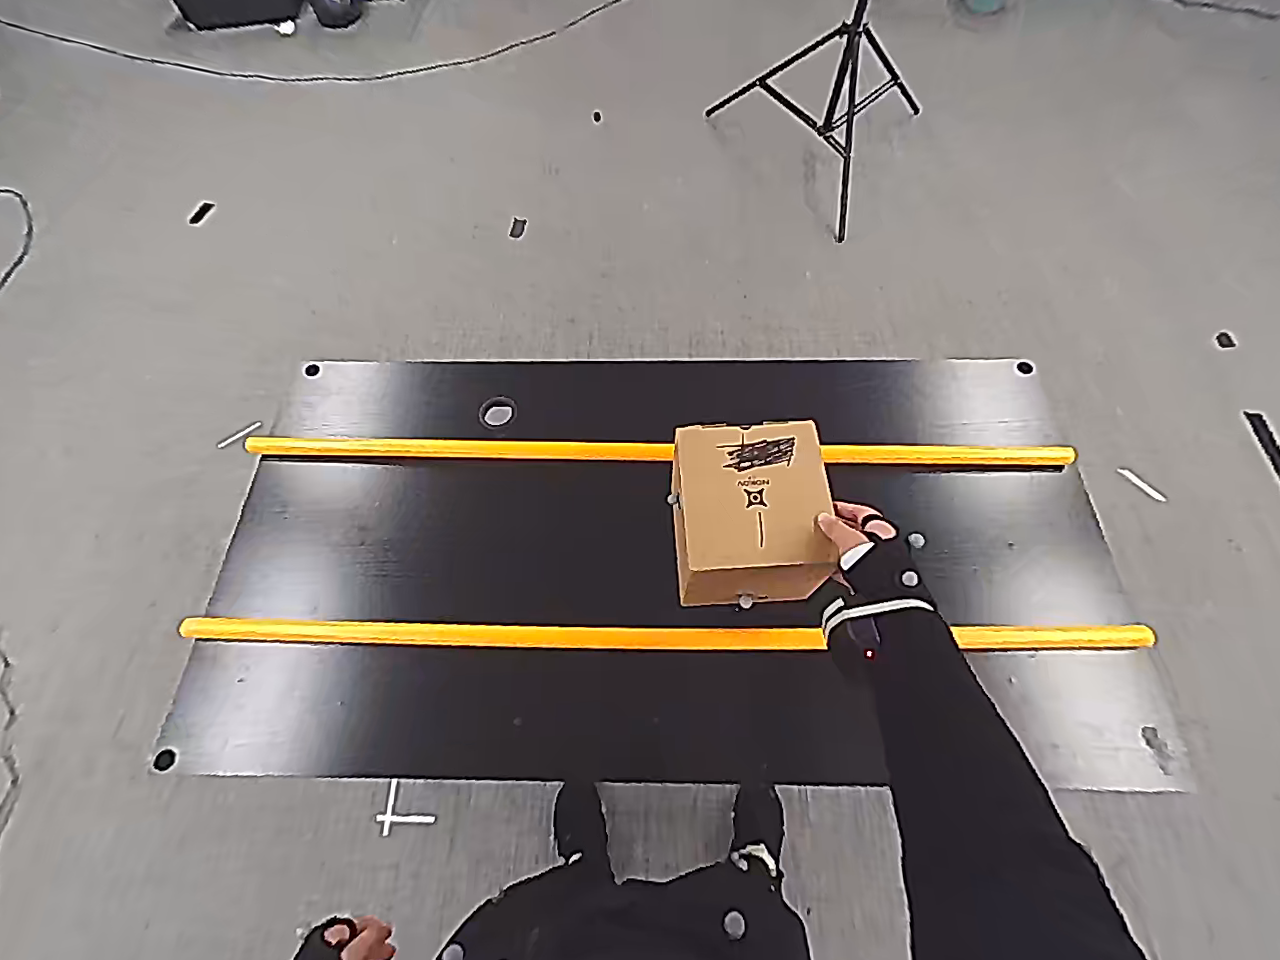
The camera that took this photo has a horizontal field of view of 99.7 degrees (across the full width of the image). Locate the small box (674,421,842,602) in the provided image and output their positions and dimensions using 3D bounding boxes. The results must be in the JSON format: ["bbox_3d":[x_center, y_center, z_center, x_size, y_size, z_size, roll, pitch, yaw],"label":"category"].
[{"bbox_3d":[0.132,0.045,0.681,0.168,0.176,0.179,-3,65,0],"label":"small box"}]
